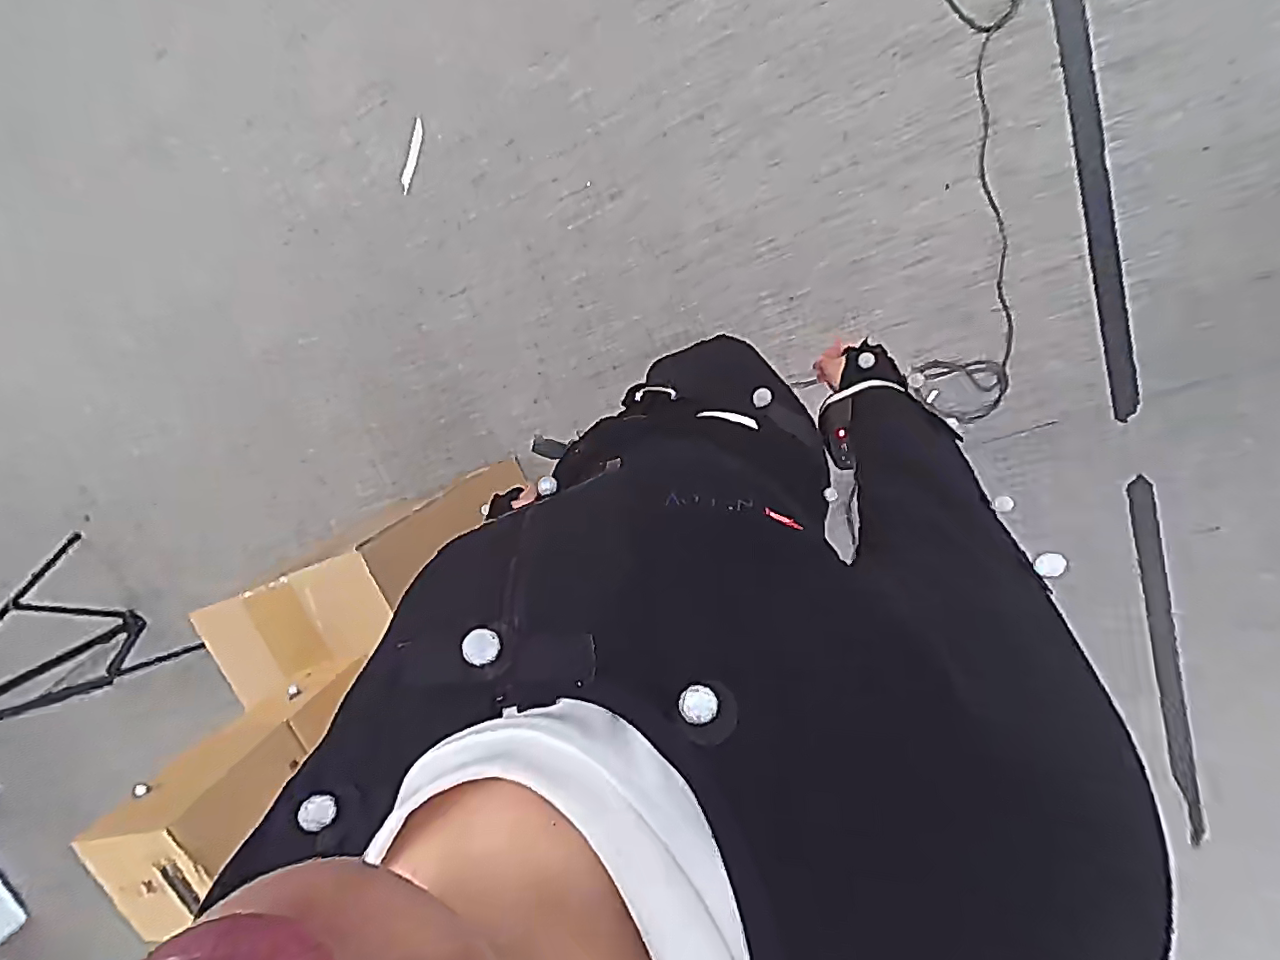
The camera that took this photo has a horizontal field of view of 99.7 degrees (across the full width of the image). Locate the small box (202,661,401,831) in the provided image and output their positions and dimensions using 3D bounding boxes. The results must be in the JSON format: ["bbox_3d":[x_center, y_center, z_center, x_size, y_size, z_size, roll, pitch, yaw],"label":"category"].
[{"bbox_3d":[-0.529,0.415,0.870,0.168,0.176,0.179,-20,103,15],"label":"small box"}]
